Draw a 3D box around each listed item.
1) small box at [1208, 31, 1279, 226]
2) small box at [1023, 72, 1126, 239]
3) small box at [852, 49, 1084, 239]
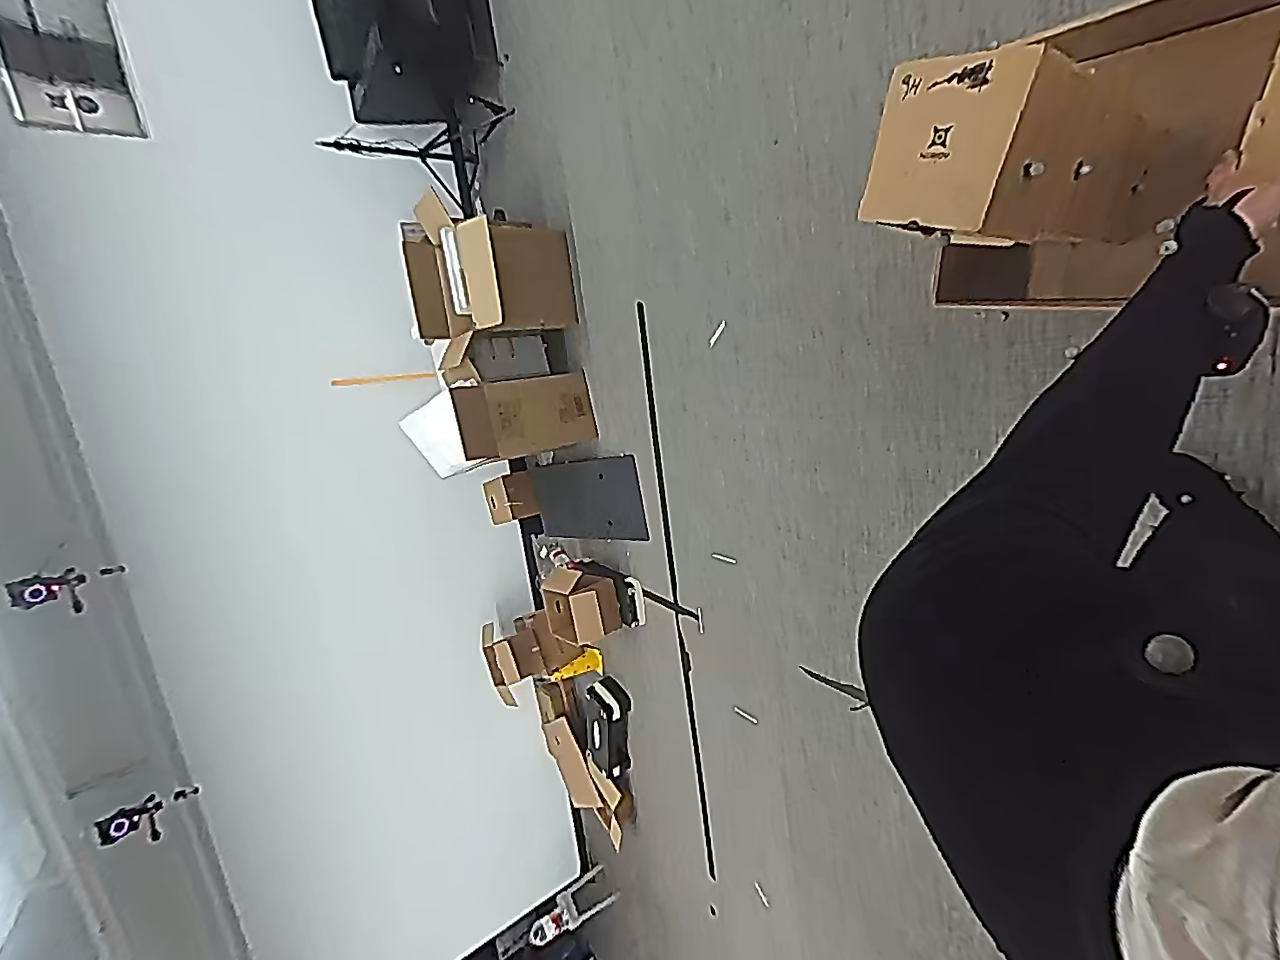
[{"bbox_3d":[0.722,-0.346,0.526,0.179,0.176,0.168,27,122,50],"label":"small box"},{"bbox_3d":[0.536,-0.442,0.764,0.168,0.176,0.179,32,126,46],"label":"small box"},{"bbox_3d":[0.403,-0.404,0.674,0.168,0.176,0.179,36,130,44],"label":"small box"}]
